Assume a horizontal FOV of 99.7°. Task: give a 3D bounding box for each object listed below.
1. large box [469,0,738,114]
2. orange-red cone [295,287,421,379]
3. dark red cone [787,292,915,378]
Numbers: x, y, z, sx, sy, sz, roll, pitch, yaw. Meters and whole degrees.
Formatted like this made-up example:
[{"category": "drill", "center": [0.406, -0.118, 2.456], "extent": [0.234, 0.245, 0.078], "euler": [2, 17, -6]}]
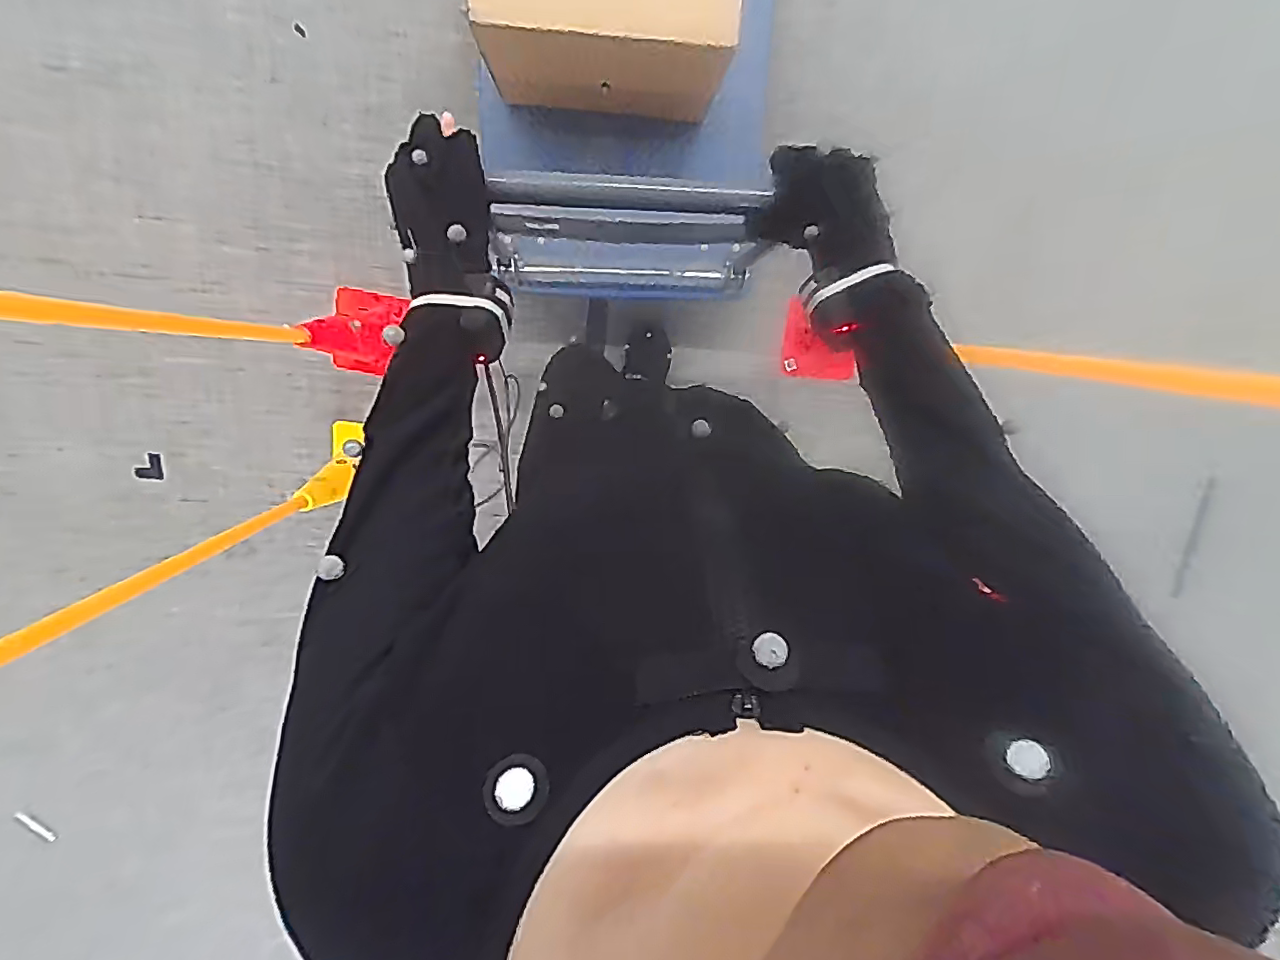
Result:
[{"category": "large box", "center": [-0.053, -0.856, 0.915], "extent": [0.408, 0.320, 0.320], "euler": [2, 105, -3]}, {"category": "orange-red cone", "center": [-0.642, -0.322, 1.180], "extent": [0.198, 0.360, 0.199], "euler": [11, 103, -7]}, {"category": "dark red cone", "center": [0.492, -0.325, 1.222], "extent": [0.201, 0.394, 0.202], "euler": [3, 105, -6]}]
